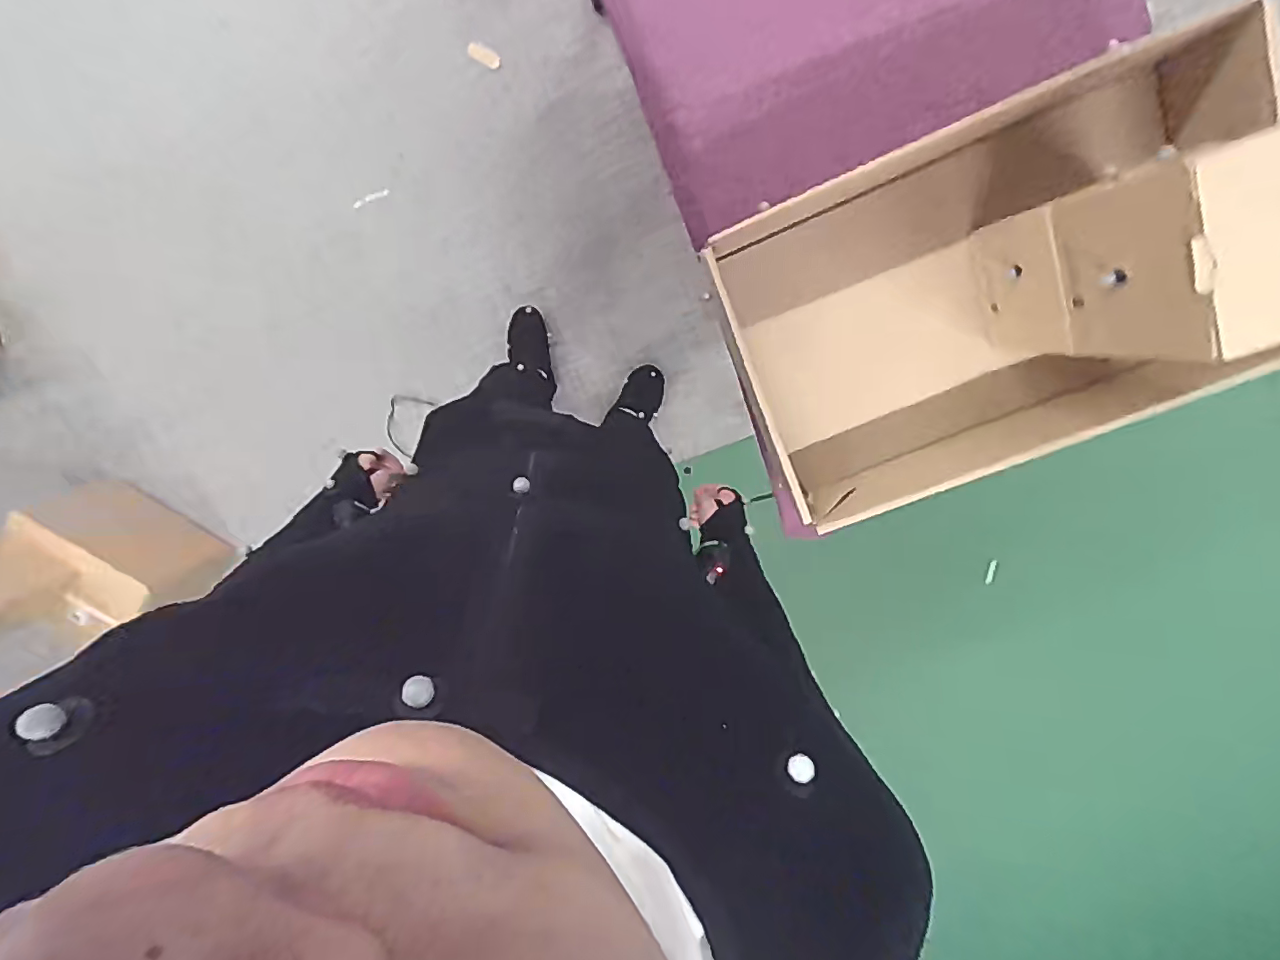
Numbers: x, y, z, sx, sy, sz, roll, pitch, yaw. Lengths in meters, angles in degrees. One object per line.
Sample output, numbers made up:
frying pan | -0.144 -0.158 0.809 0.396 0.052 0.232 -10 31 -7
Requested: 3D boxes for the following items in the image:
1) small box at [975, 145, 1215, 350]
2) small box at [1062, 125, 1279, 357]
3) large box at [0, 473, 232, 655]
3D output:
small box | 0.545 -0.266 0.664 0.179 0.176 0.168 -19 103 8
small box | 0.538 -0.222 0.506 0.179 0.176 0.168 -18 103 9
large box | -1.583 0.239 1.635 0.408 0.320 0.320 34 106 -8
